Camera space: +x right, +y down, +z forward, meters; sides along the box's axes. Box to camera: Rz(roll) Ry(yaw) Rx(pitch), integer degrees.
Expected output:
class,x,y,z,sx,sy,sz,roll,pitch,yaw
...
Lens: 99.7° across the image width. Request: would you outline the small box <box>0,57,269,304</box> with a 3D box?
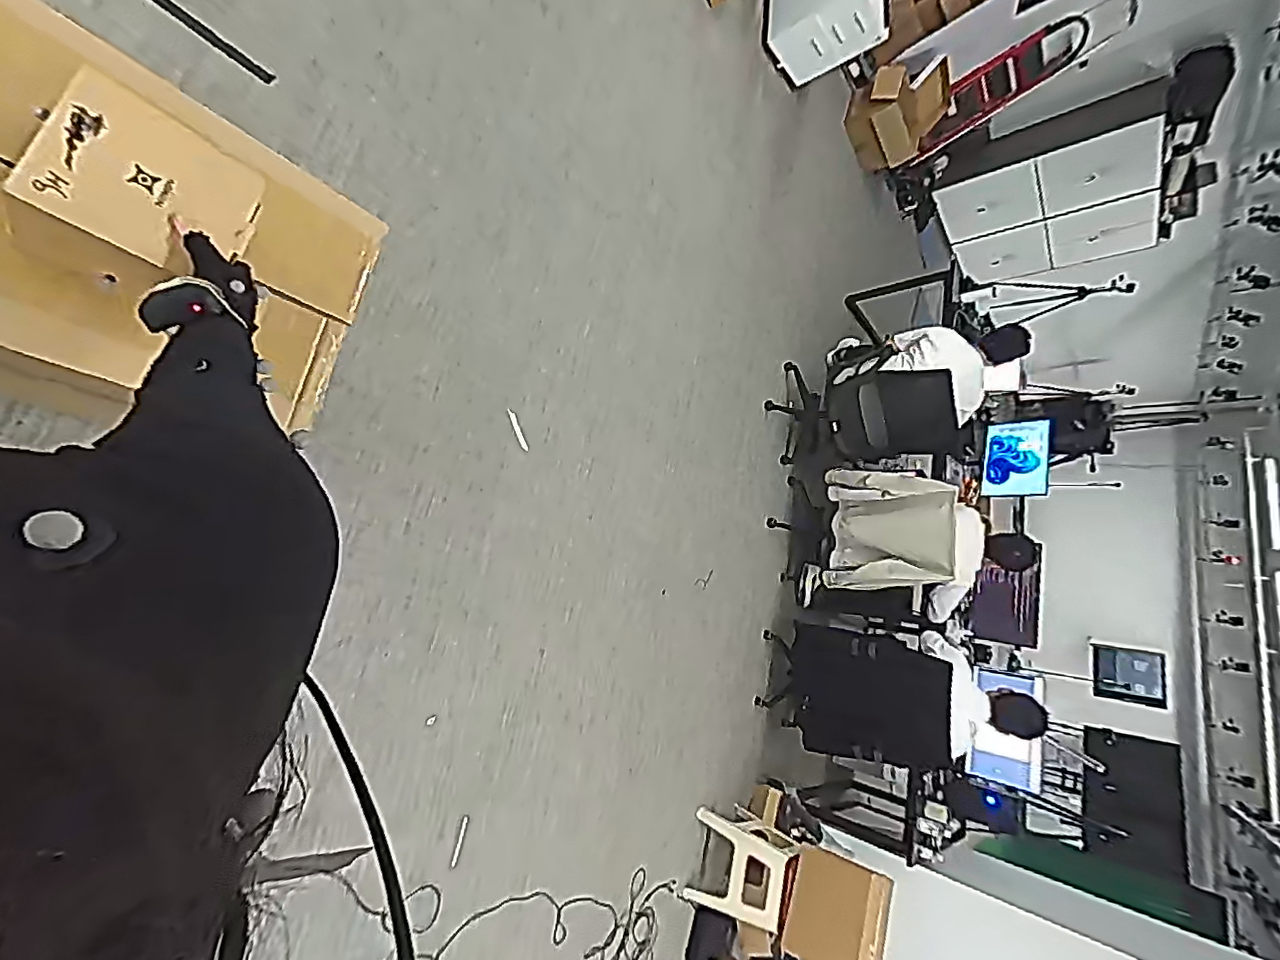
class,x,y,z,sx,sy,sz,roll,pitch,yaw
small box,-0.591,-0.329,0.641,0.179,0.176,0.168,30,69,-45
